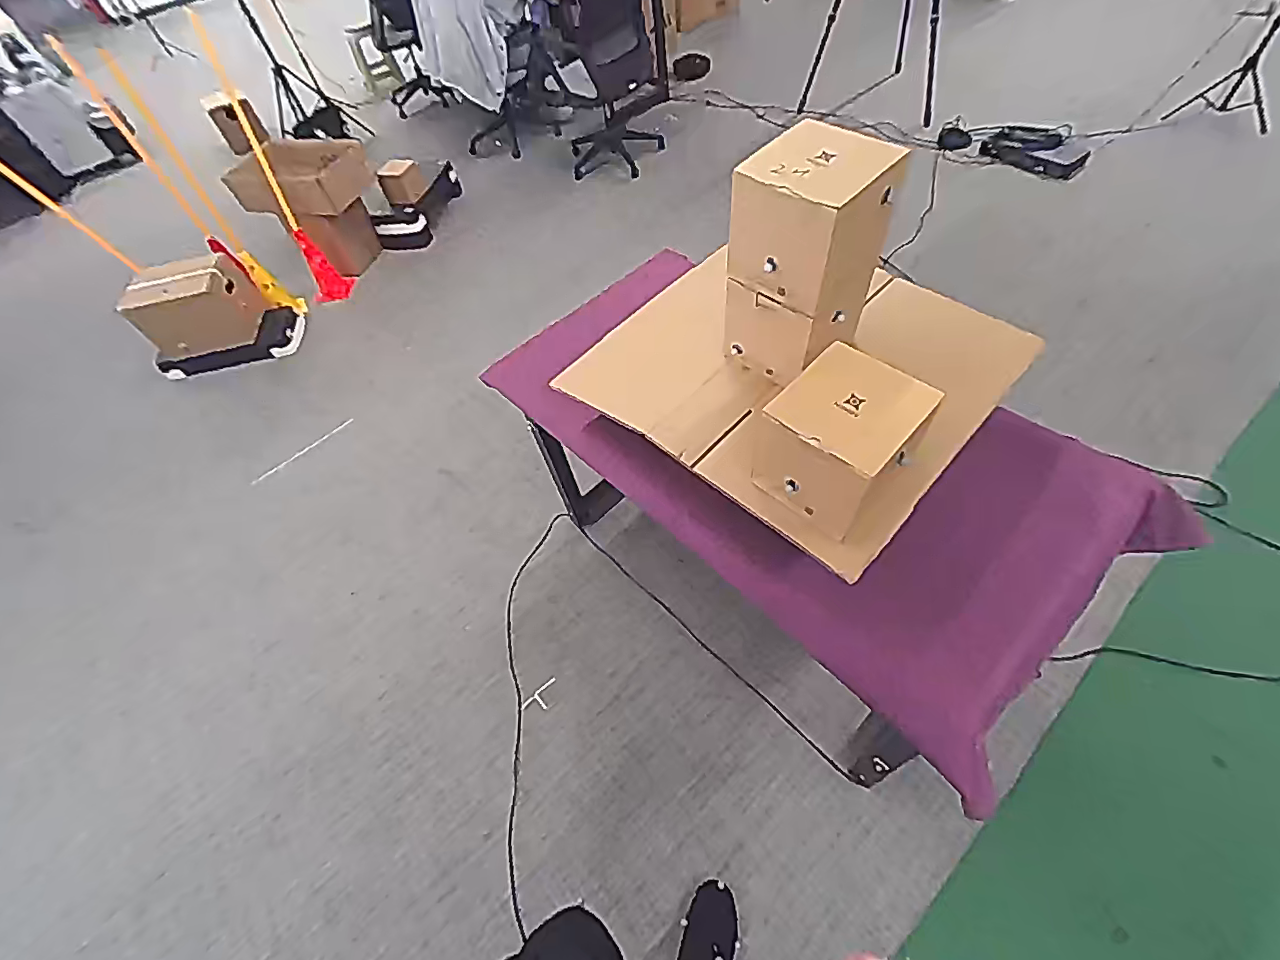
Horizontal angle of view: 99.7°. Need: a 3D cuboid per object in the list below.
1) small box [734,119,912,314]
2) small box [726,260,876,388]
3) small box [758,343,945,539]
[{"bbox_3d":[0.249,-0.377,0.782,0.168,0.176,0.179,38,68,26],"label":"small box"},{"bbox_3d":[0.262,-0.285,0.917,0.168,0.176,0.179,38,67,25],"label":"small box"},{"bbox_3d":[0.282,-0.052,0.763,0.168,0.176,0.179,38,68,26],"label":"small box"}]
